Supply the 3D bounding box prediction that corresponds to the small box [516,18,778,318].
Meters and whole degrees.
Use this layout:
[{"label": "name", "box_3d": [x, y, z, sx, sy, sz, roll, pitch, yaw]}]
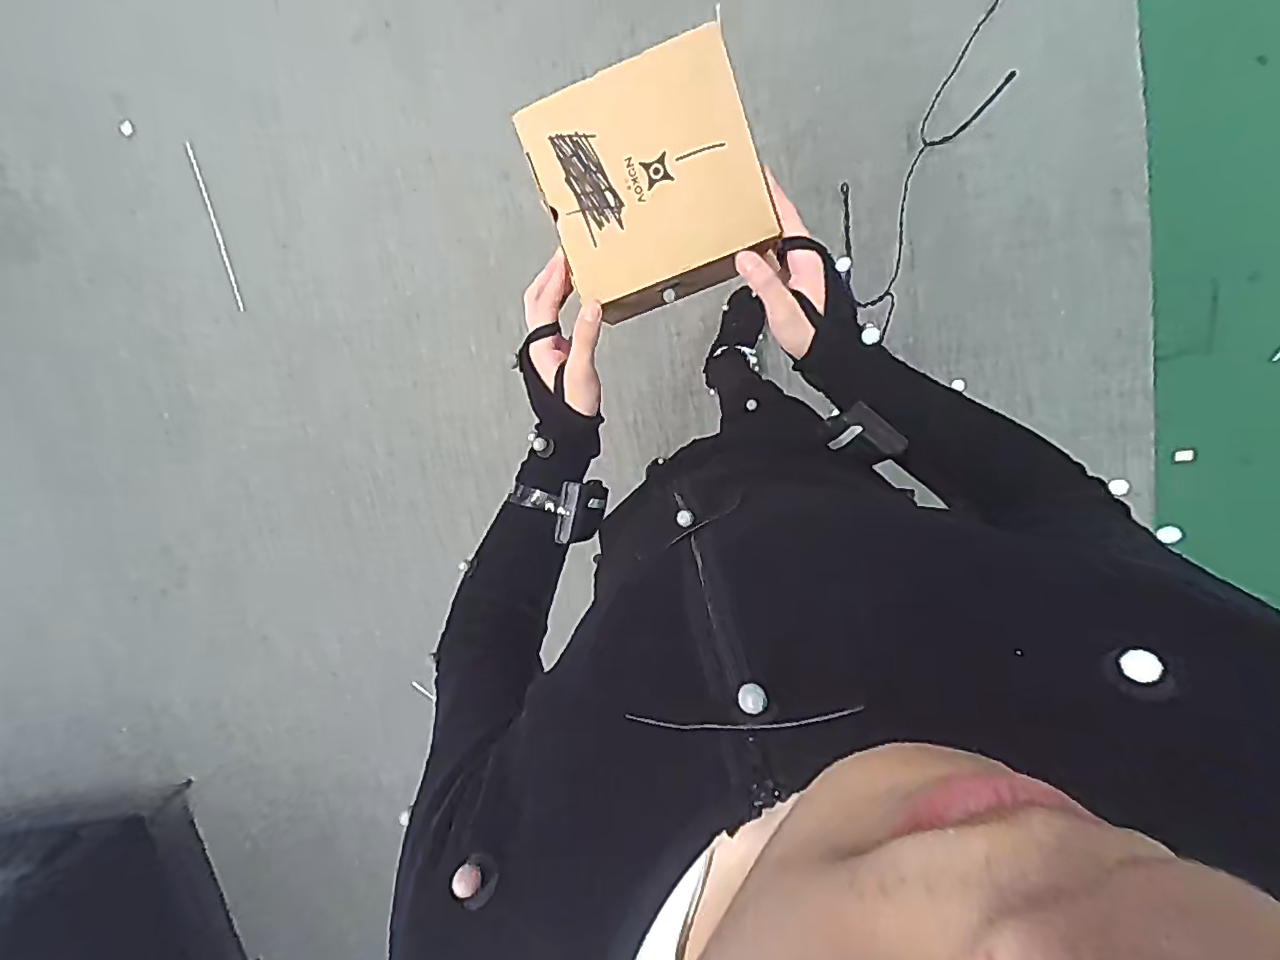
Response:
[{"label": "small box", "box_3d": [0.013, -0.265, 0.512, 0.179, 0.176, 0.168, -19, 100, 9]}]
